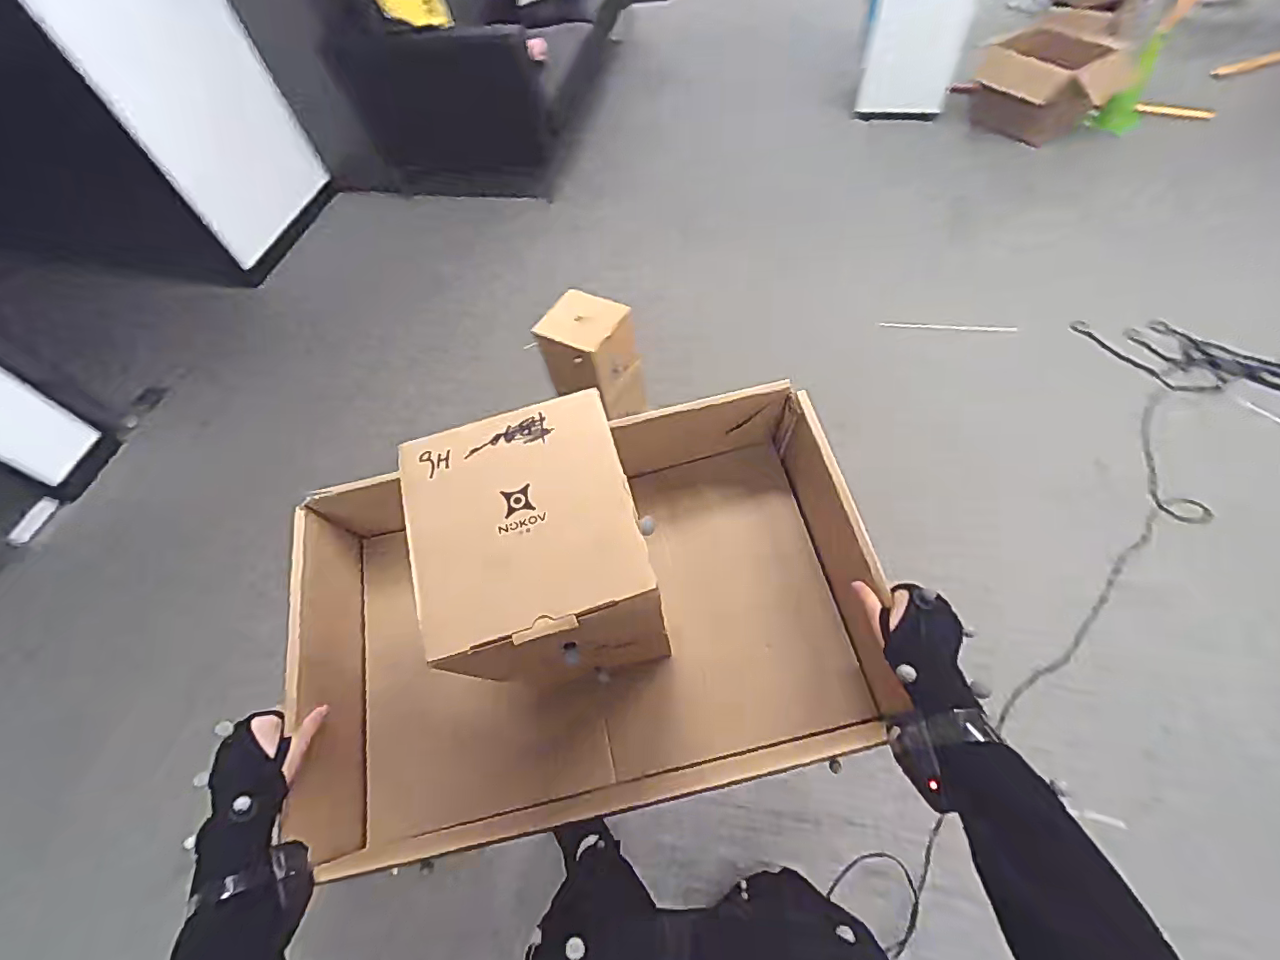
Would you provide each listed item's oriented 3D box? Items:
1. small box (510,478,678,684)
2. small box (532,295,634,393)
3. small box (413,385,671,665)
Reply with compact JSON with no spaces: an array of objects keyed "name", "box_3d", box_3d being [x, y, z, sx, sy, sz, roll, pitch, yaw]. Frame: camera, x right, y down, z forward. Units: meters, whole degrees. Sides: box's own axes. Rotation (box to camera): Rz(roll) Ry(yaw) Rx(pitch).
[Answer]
[{"name":"small box","box_3d":[-0.057,0.119,0.617,0.168,0.176,0.179,-14,65,-1]},{"name":"small box","box_3d":[-0.133,-0.319,1.329,0.179,0.176,0.168,23,62,21]},{"name":"small box","box_3d":[-0.073,0.052,0.468,0.168,0.176,0.179,-16,66,-3]}]
